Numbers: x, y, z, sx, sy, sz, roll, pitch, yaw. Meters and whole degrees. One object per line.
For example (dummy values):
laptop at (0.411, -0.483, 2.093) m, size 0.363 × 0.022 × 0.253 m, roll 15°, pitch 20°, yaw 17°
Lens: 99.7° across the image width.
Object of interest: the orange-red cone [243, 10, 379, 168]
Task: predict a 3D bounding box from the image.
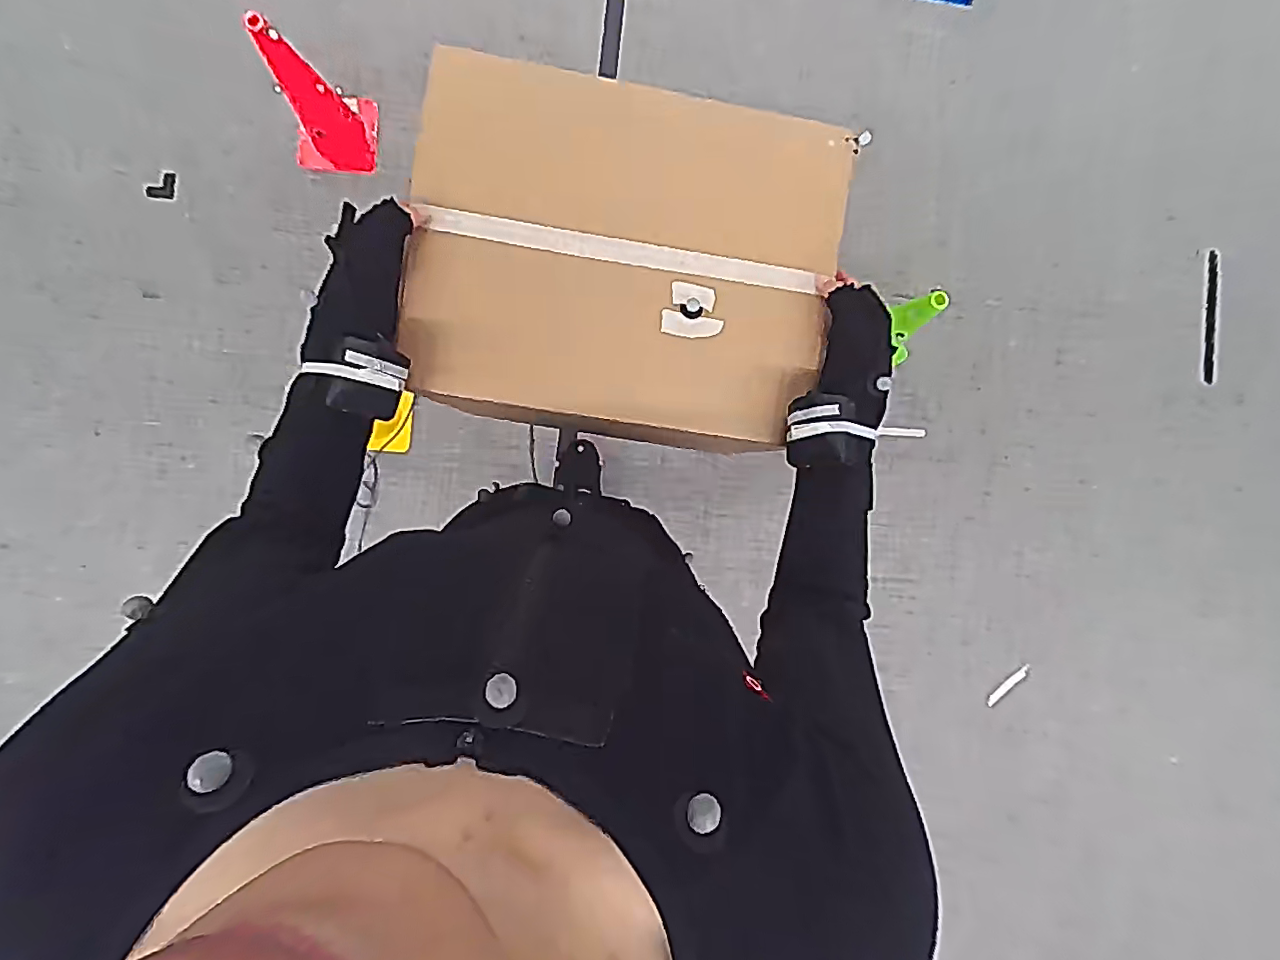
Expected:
orange-red cone at (-0.791, -0.930, 1.267) m, size 0.198 × 0.360 × 0.199 m, roll 3°, pitch 90°, yaw -3°

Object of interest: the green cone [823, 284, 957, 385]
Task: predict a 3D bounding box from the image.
green cone at (0.648, -0.395, 1.346) m, size 0.202 × 0.368 × 0.200 m, roll -32°, pitch 92°, yaw -5°

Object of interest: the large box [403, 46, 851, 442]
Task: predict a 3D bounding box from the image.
large box at (-0.021, -0.229, 0.662) m, size 0.408 × 0.320 × 0.320 m, roll 8°, pitch 92°, yaw -5°
